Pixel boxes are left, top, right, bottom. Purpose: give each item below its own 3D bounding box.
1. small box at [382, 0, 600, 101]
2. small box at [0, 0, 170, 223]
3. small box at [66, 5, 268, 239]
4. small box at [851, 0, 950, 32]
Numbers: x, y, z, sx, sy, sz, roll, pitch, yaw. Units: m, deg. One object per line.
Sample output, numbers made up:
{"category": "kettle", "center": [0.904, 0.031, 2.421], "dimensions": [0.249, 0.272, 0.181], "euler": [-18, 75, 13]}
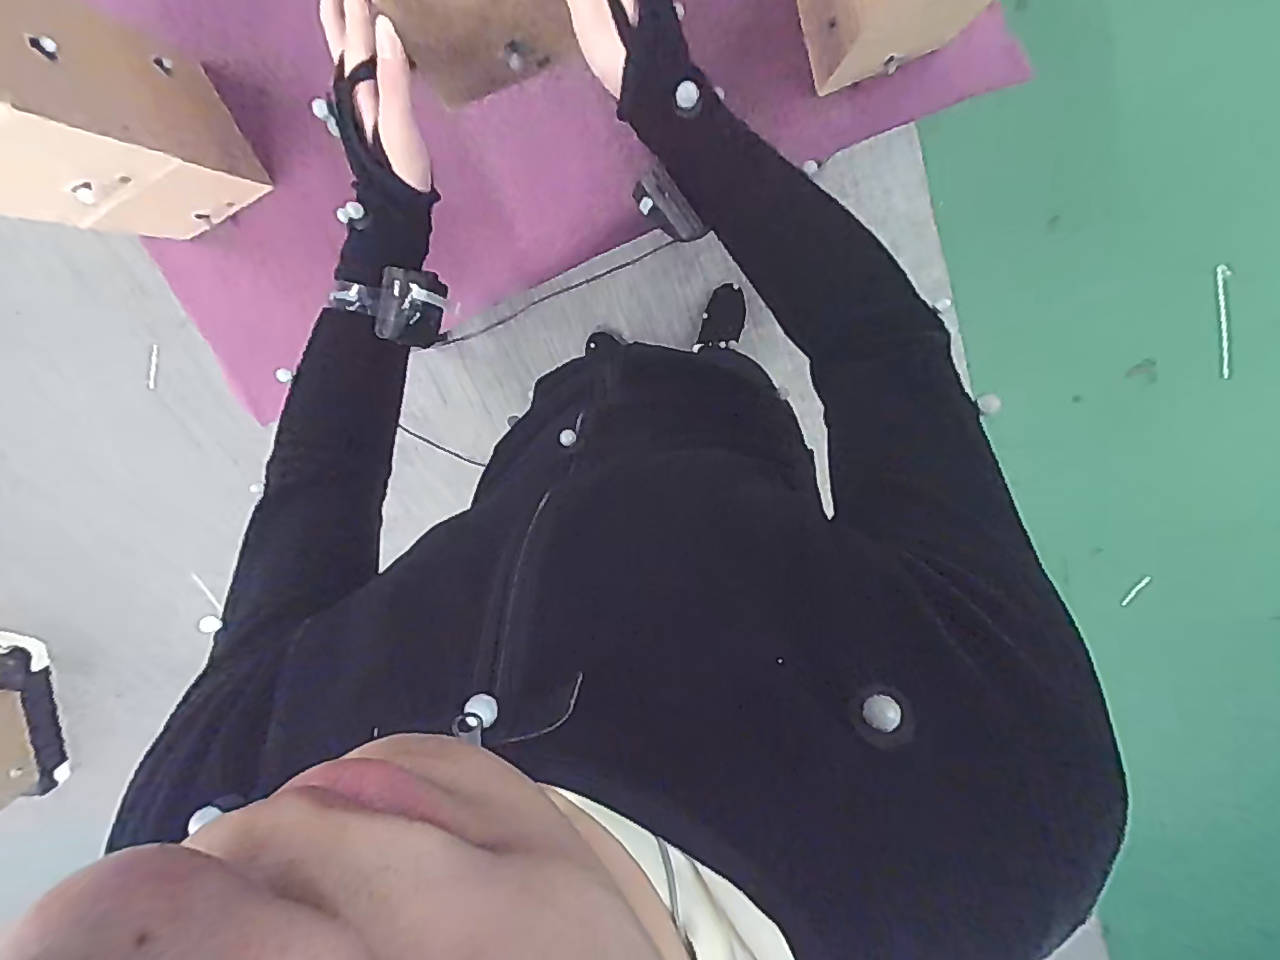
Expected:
{"category": "small box", "center": [-0.137, -0.446, 0.416], "dimensions": [0.168, 0.176, 0.179], "euler": [-20, 103, 2]}
{"category": "small box", "center": [-0.648, -0.384, 0.539], "dimensions": [0.168, 0.176, 0.179], "euler": [-24, 106, 10]}
{"category": "small box", "center": [-0.642, -0.435, 0.694], "dimensions": [0.168, 0.176, 0.179], "euler": [-24, 107, 10]}
{"category": "small box", "center": [0.268, -0.537, 0.450], "dimensions": [0.168, 0.176, 0.179], "euler": [-18, 105, 9]}
